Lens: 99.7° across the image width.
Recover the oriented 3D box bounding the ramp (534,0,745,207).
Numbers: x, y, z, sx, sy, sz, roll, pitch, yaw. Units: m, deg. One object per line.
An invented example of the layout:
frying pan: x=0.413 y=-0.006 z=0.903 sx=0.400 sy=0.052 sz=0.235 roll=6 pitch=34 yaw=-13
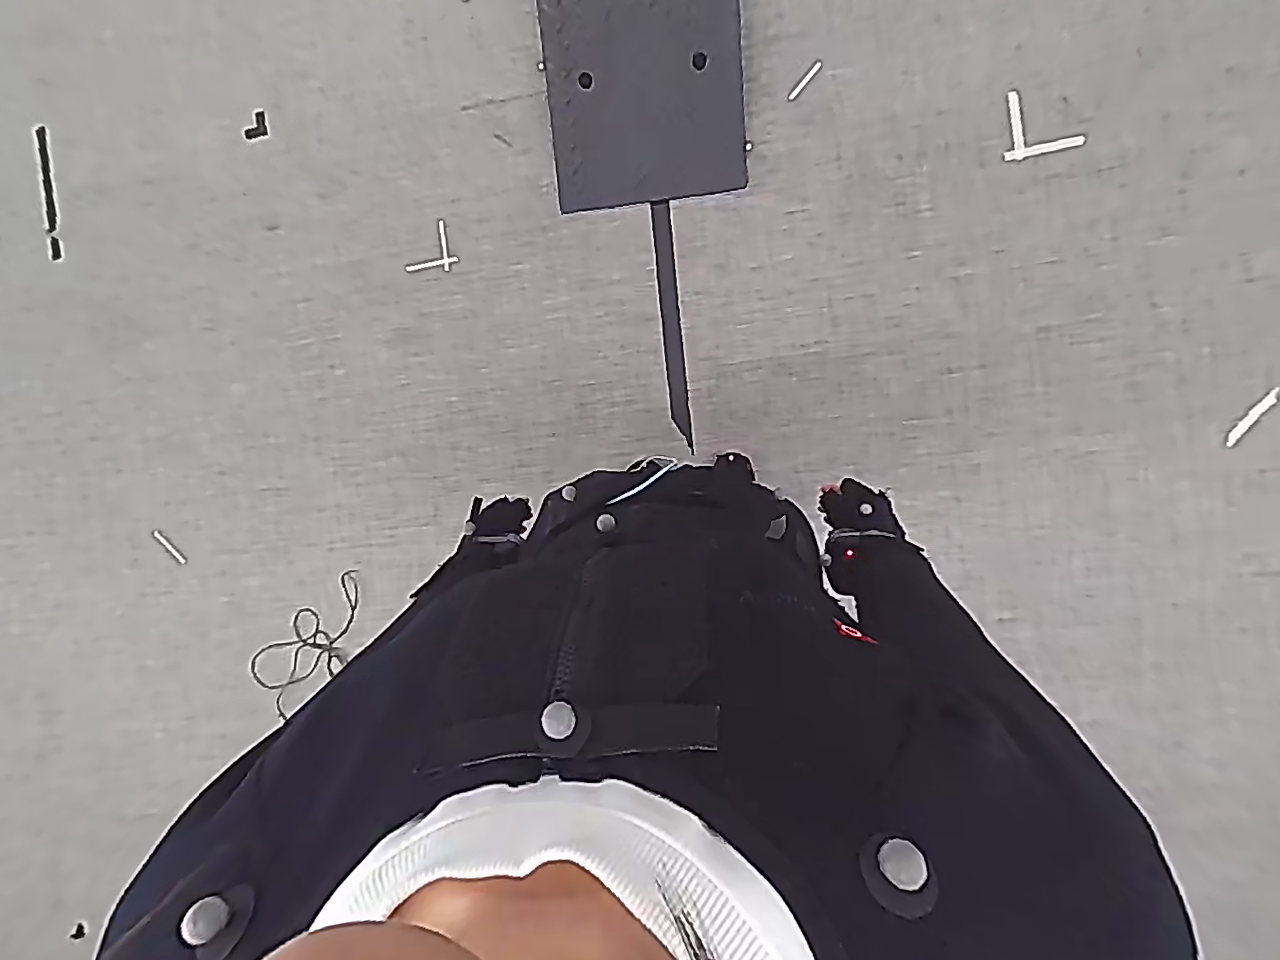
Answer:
ramp: x=-0.019 y=-1.222 z=1.287 sx=0.509 sy=0.206 sz=0.991 roll=-6 pitch=93 yaw=7
